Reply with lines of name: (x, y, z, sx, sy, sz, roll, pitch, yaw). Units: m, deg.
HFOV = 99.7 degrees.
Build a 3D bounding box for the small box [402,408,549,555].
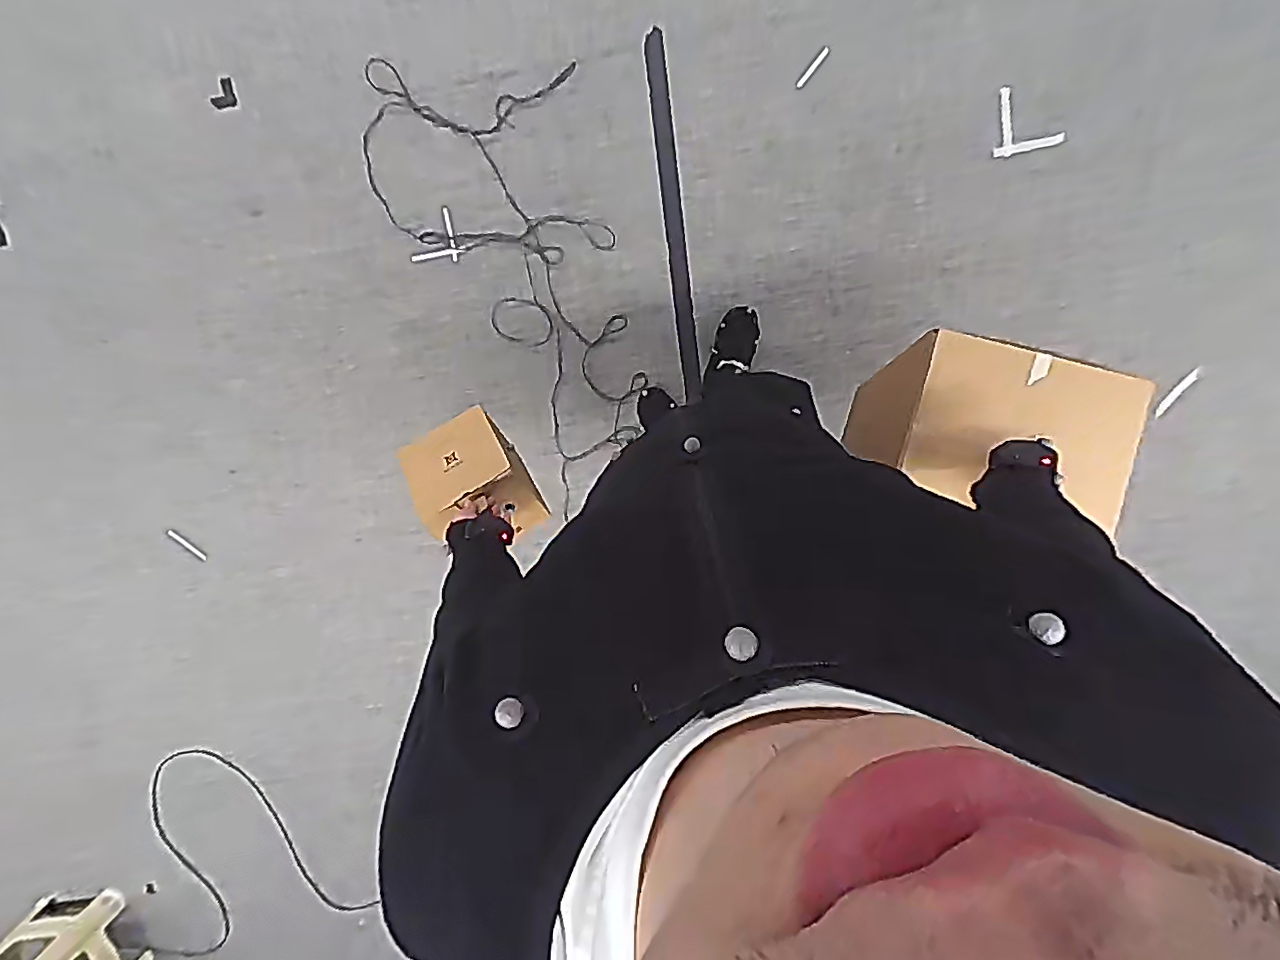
small box: (-0.287, 0.013, 0.963, 0.168, 0.179, 0.176, -32, 143, -5)
